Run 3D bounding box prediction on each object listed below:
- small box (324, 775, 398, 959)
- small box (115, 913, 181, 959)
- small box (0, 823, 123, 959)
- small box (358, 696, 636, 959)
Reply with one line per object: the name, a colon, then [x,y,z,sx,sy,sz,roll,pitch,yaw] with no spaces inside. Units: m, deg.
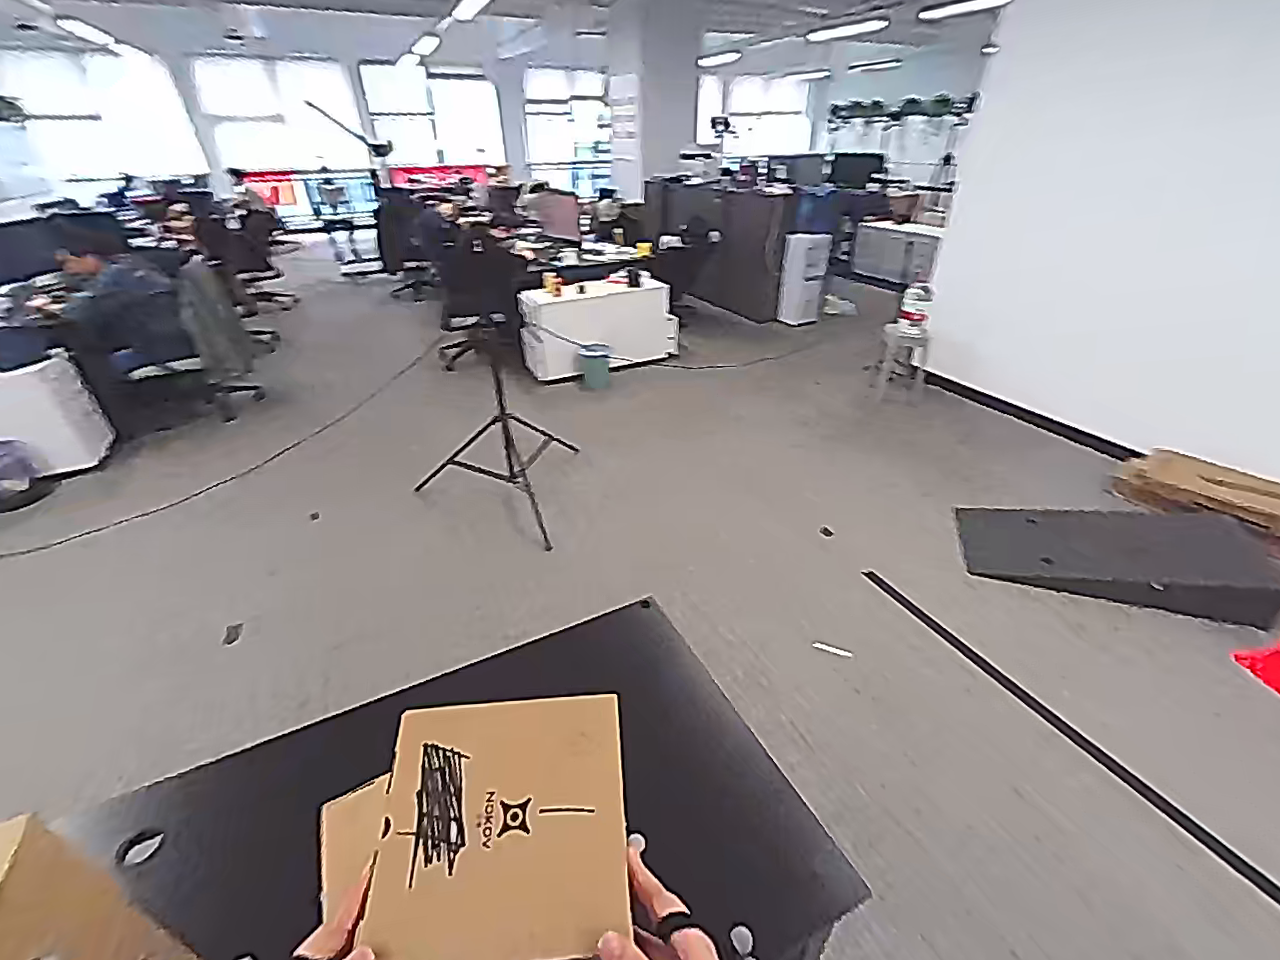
small box: [-0.262,0.476,0.650,0.168,0.176,0.179,-18,36,-22]
small box: [-0.552,0.572,0.504,0.168,0.176,0.179,-15,34,-21]
small box: [-0.563,0.429,0.424,0.168,0.176,0.179,-17,35,-23]
small box: [-0.095,0.298,0.449,0.179,0.176,0.168,-3,47,-4]
